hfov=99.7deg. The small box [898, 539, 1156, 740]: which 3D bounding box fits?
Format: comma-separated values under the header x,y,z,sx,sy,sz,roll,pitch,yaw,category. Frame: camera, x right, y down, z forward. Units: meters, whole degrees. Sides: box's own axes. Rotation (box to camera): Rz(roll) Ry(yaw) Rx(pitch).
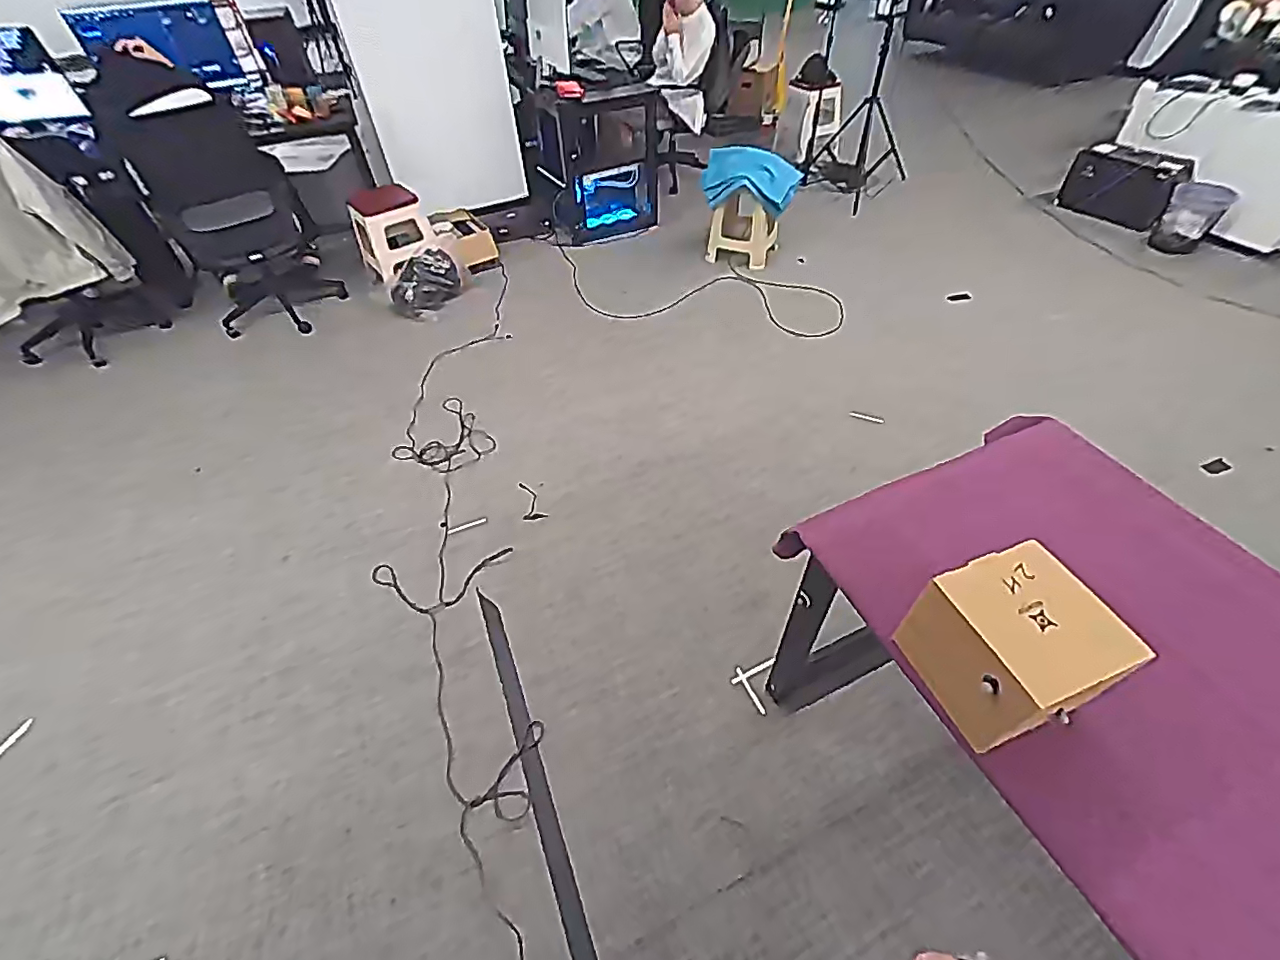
x,y,z,sx,sy,sz,roll,pitch,yaw,category
0.475,0.212,0.698,0.168,0.176,0.179,-17,49,-11,small box
